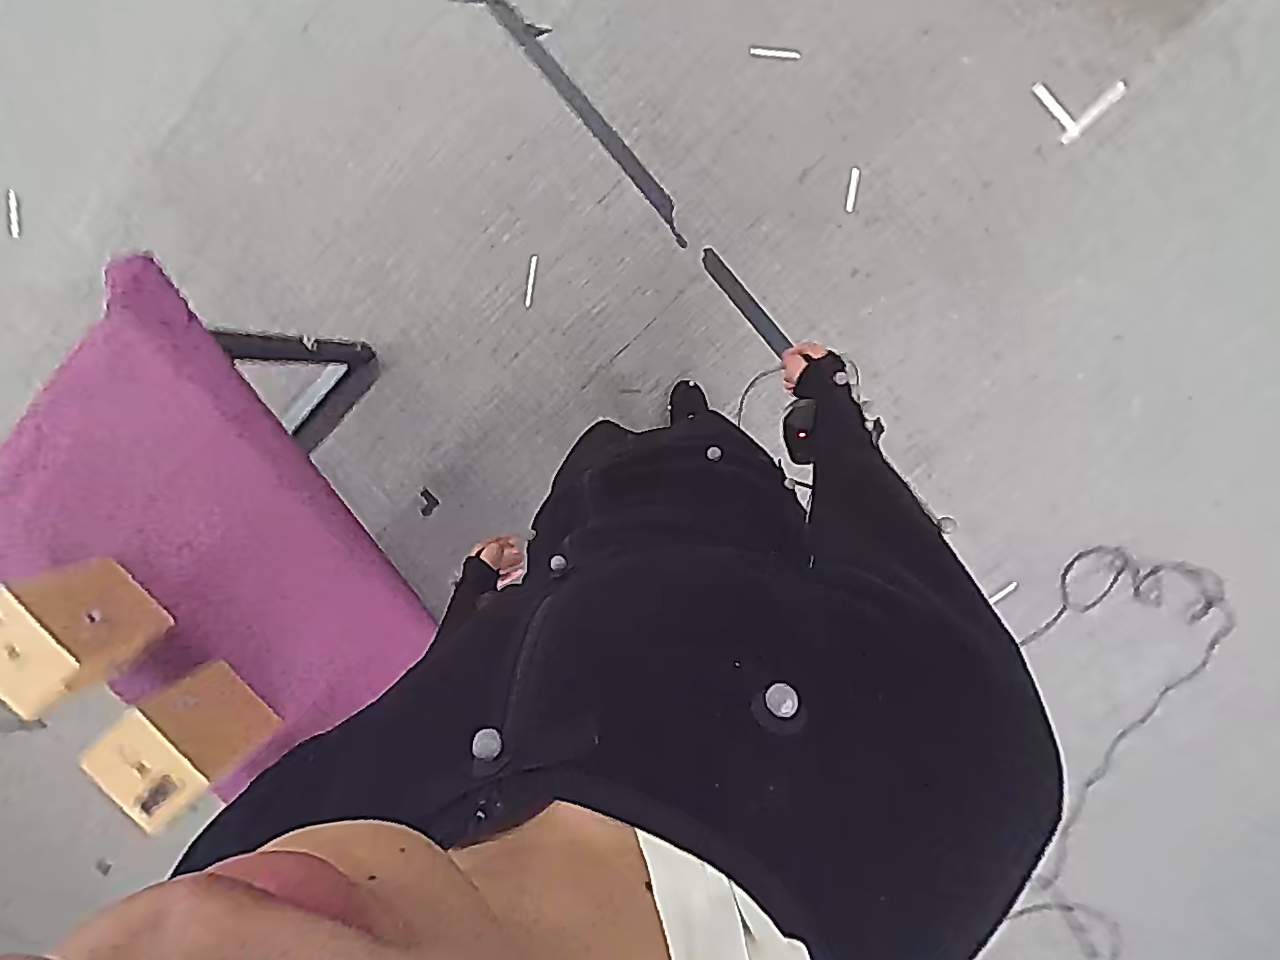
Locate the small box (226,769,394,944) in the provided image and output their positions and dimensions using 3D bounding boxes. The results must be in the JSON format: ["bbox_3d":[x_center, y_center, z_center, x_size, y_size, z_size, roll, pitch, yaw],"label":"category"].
[{"bbox_3d":[-0.586,0.678,0.993,0.179,0.176,0.168,-35,95,11],"label":"small box"}]
